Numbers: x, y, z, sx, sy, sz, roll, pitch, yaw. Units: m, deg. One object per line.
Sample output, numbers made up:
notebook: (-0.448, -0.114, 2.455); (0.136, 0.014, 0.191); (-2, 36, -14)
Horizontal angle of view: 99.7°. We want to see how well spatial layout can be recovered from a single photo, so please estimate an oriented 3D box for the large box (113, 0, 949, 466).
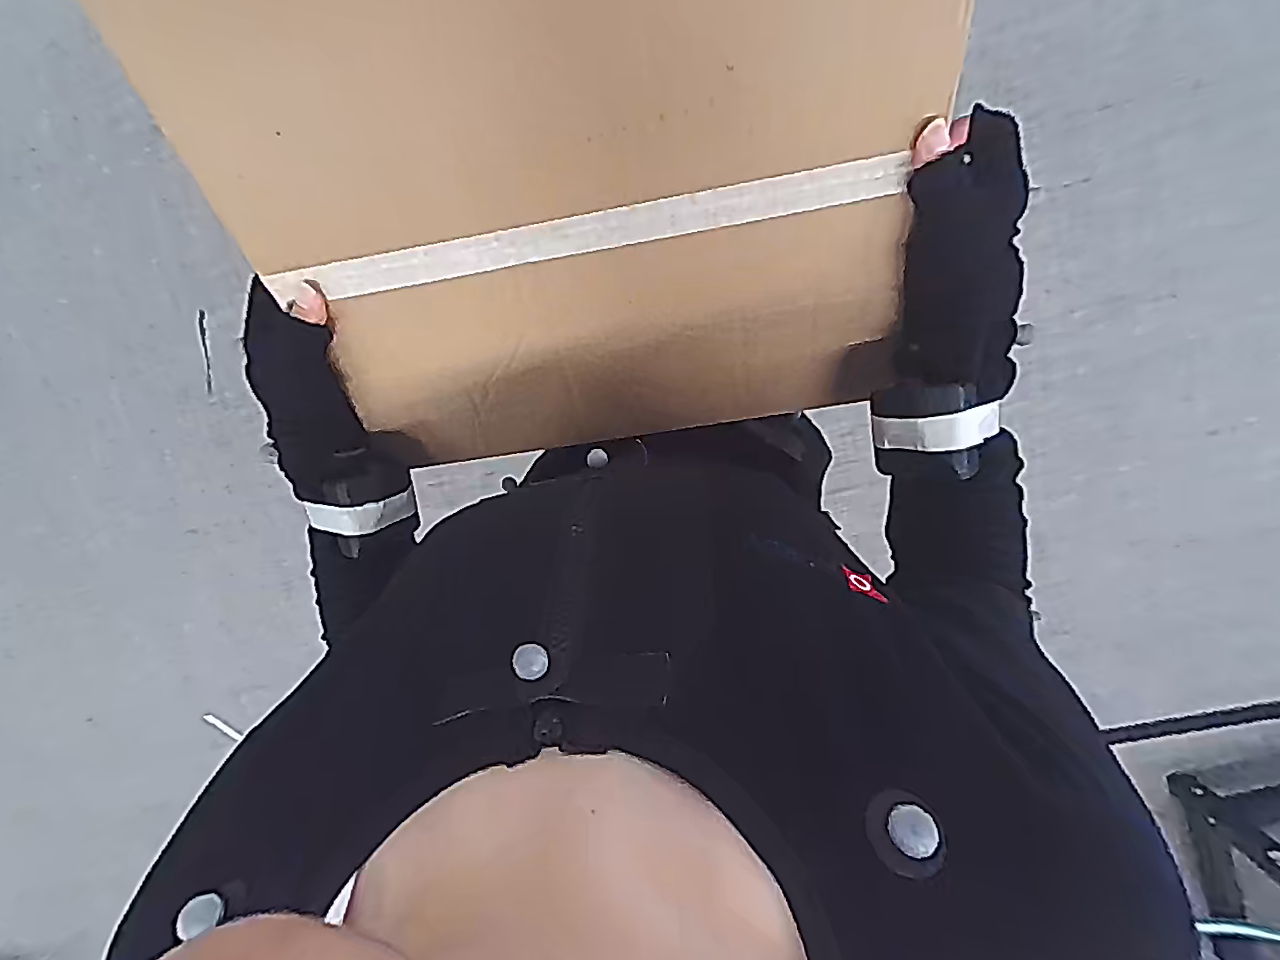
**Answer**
large box: (-0.034, -0.252, 0.442); (0.408, 0.320, 0.320); (-8, 132, 6)
